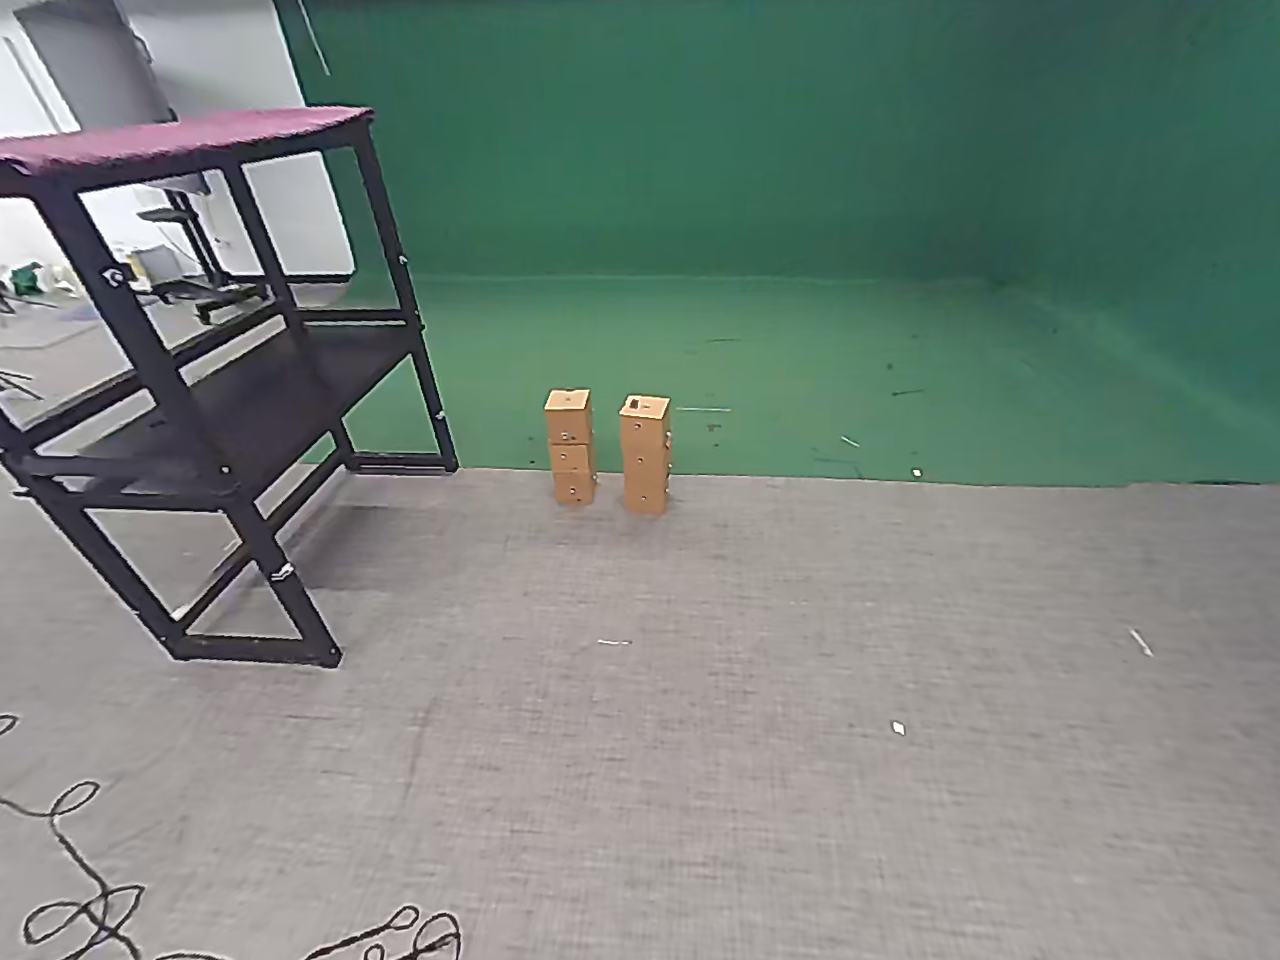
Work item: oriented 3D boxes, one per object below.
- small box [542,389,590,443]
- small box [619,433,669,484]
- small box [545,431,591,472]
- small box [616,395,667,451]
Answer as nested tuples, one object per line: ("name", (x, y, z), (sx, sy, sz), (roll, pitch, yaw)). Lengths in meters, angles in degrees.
("small box", (-0.307, -0.270, 2.280), (0.168, 0.176, 0.179), (-1, 36, 3))
("small box", (0.022, -0.100, 2.304), (0.179, 0.176, 0.168), (8, 39, 14))
("small box", (-0.313, -0.147, 2.388), (0.168, 0.176, 0.179), (1, 35, 5))
("small box", (0.010, -0.231, 2.206), (0.179, 0.176, 0.168), (7, 38, 12))
